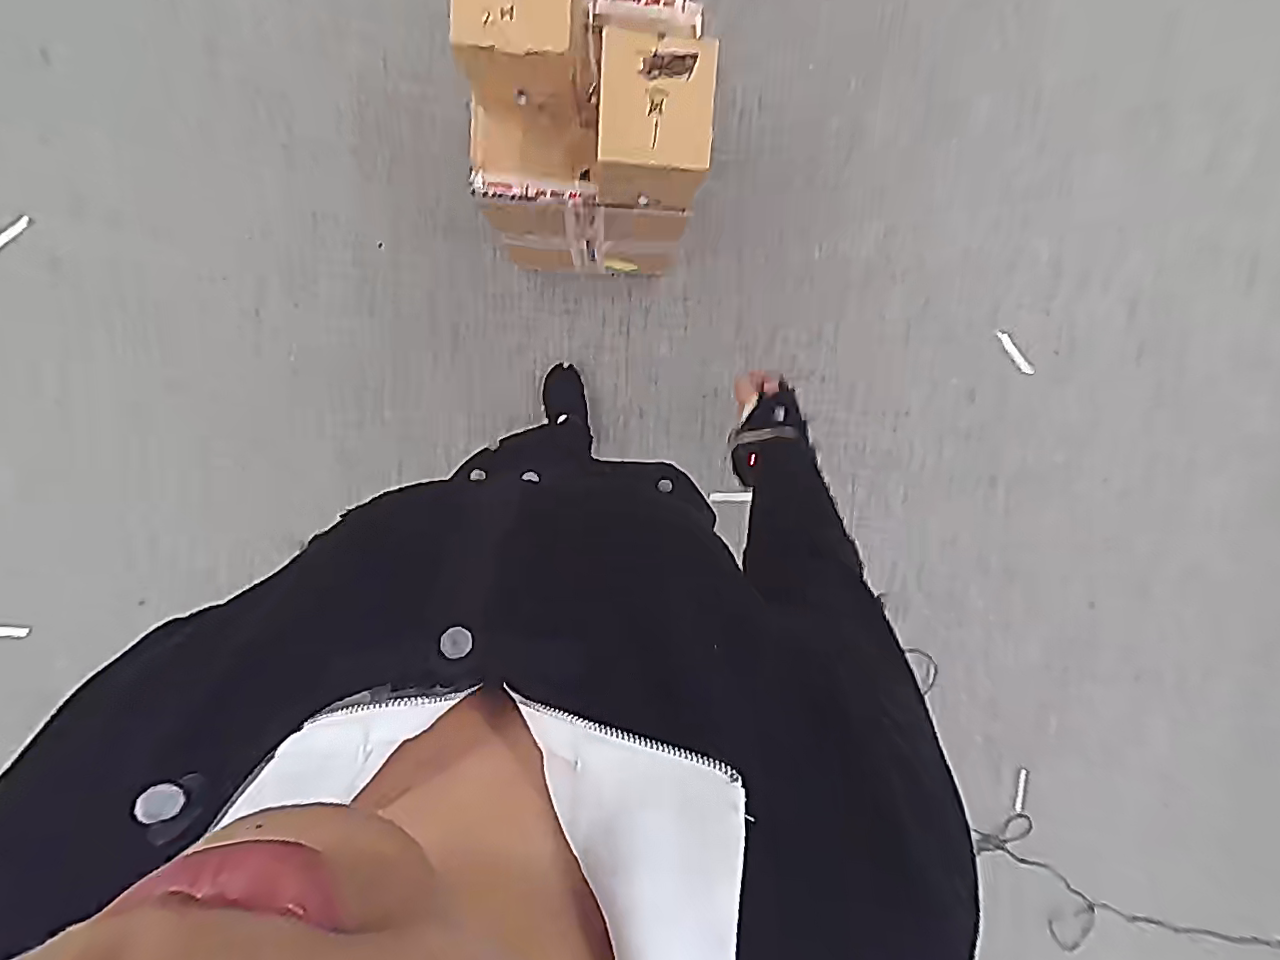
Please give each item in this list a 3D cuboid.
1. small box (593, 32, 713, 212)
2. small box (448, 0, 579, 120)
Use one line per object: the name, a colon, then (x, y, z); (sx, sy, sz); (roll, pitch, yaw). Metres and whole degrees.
small box: (0.012, -0.552, 0.857); (0.168, 0.176, 0.179); (3, 99, -5)
small box: (-0.183, -0.692, 0.823); (0.168, 0.176, 0.179); (4, 98, -3)
